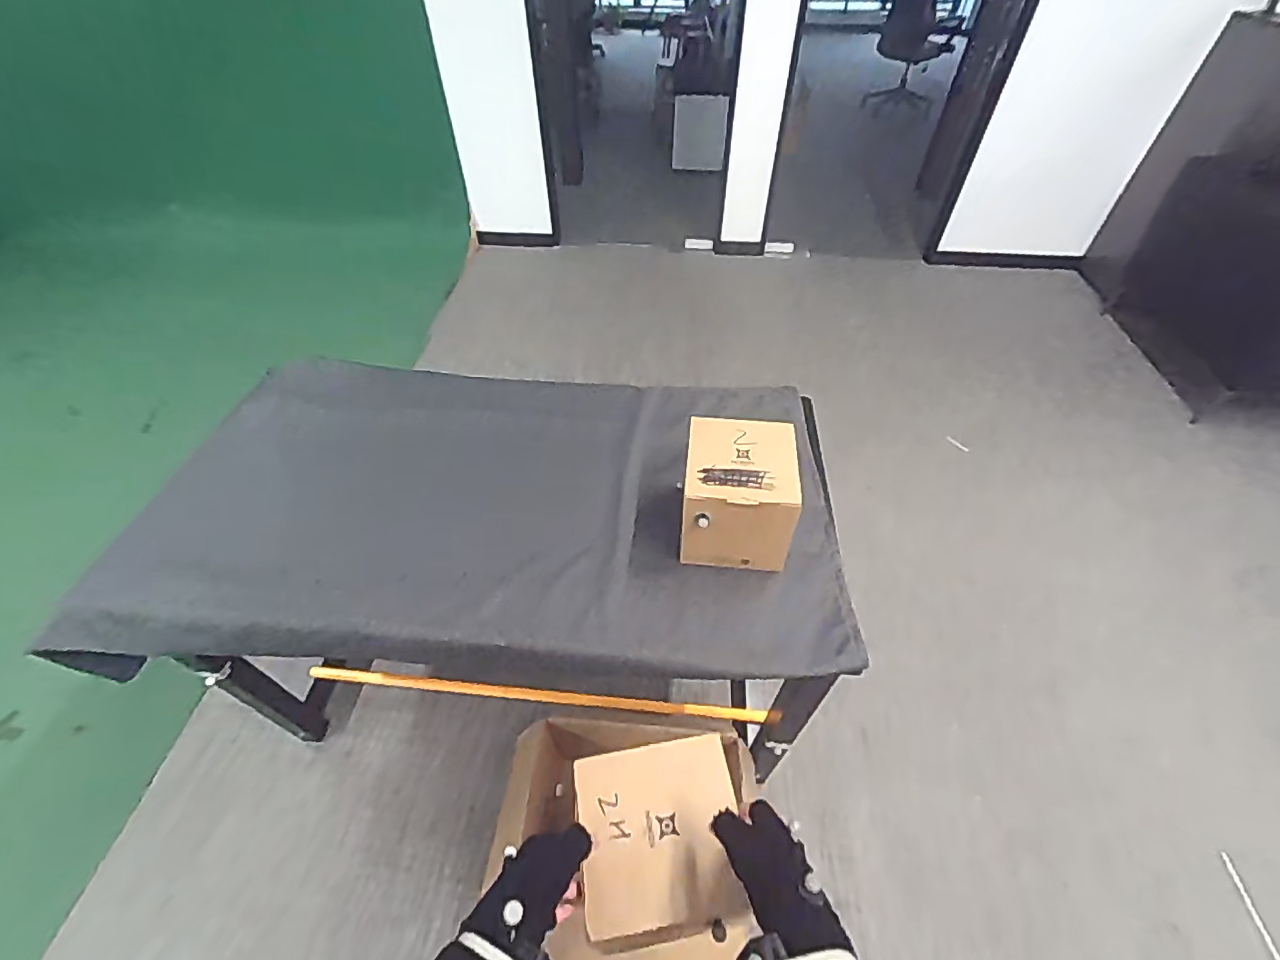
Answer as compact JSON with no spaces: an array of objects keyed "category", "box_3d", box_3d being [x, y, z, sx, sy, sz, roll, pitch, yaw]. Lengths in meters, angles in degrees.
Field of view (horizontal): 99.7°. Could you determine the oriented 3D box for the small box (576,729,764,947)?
[{"category":"small box","box_3d":[0.027,0.415,0.627,0.179,0.176,0.168,-9,45,-4]}]
